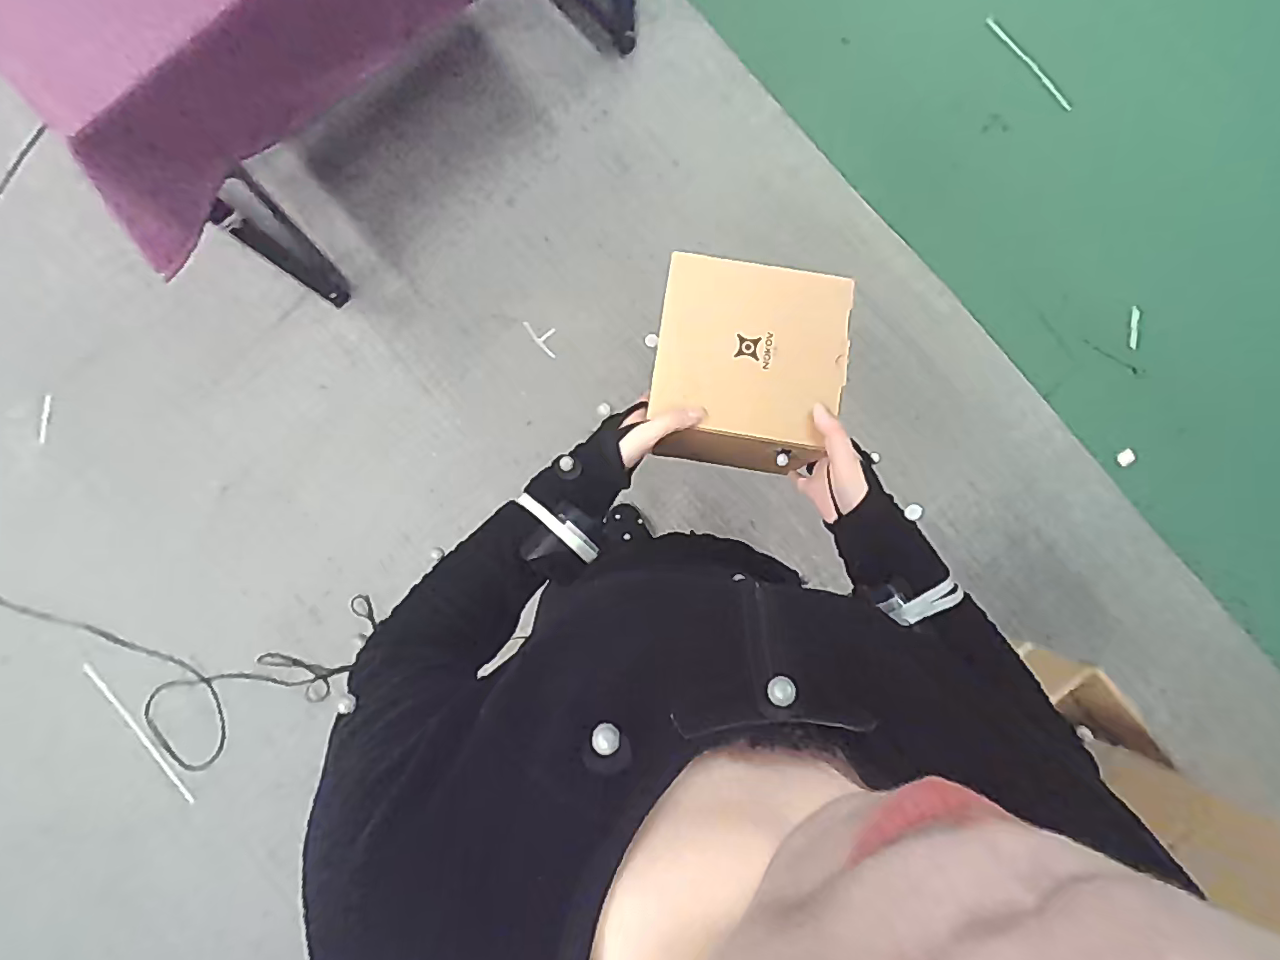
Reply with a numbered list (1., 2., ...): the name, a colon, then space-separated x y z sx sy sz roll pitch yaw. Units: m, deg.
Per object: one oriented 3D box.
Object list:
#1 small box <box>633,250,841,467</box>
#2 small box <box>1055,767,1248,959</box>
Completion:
1. small box: 0.091 -0.114 0.576 0.179 0.176 0.168 8 82 1
2. small box: 0.741 0.535 0.750 0.168 0.176 0.179 -37 87 -1
